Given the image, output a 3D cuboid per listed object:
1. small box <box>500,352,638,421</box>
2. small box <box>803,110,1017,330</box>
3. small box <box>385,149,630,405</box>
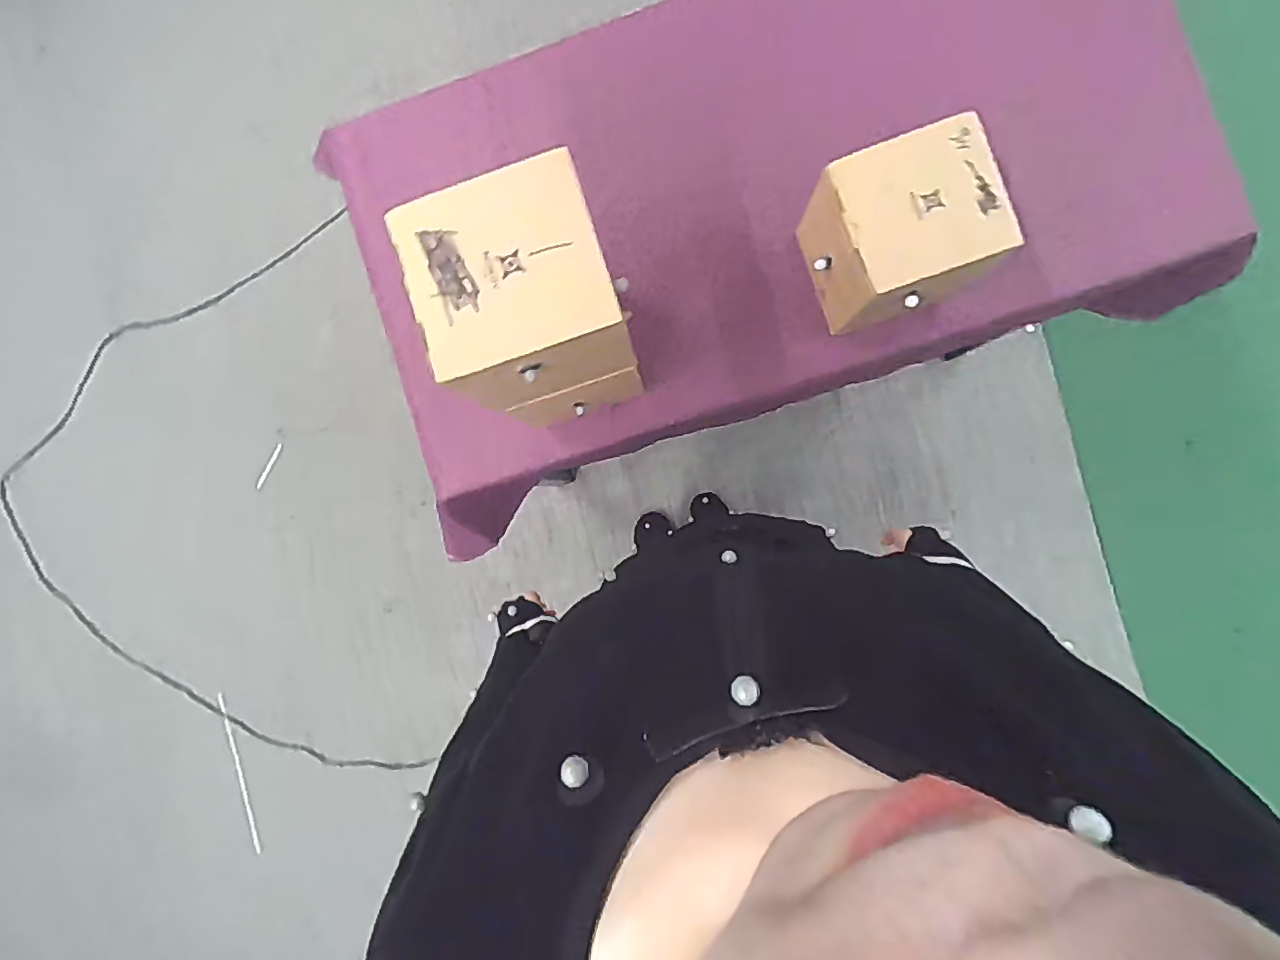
[{"bbox_3d":[-0.106,-0.185,0.720,0.168,0.176,0.179,-18,87,3],"label":"small box"},{"bbox_3d":[0.322,-0.312,0.690,0.179,0.176,0.168,-19,88,4],"label":"small box"},{"bbox_3d":[-0.119,-0.187,0.556,0.179,0.176,0.168,-18,88,3],"label":"small box"}]
